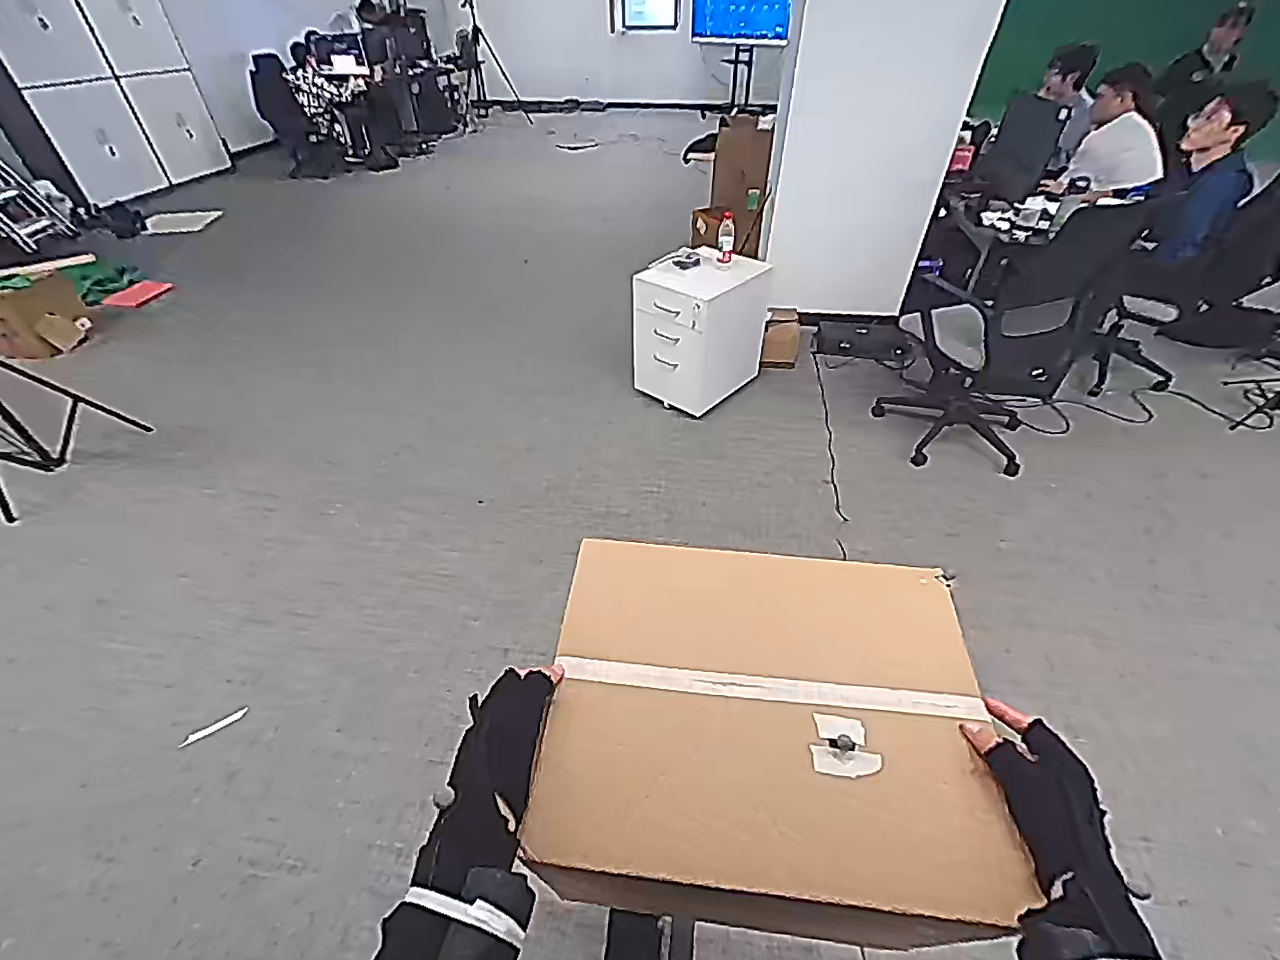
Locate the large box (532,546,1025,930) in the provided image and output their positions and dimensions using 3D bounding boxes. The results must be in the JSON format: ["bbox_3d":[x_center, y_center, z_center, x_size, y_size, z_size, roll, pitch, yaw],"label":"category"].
[{"bbox_3d":[0.120,0.304,0.642,0.408,0.320,0.320,5,49,5],"label":"large box"}]
